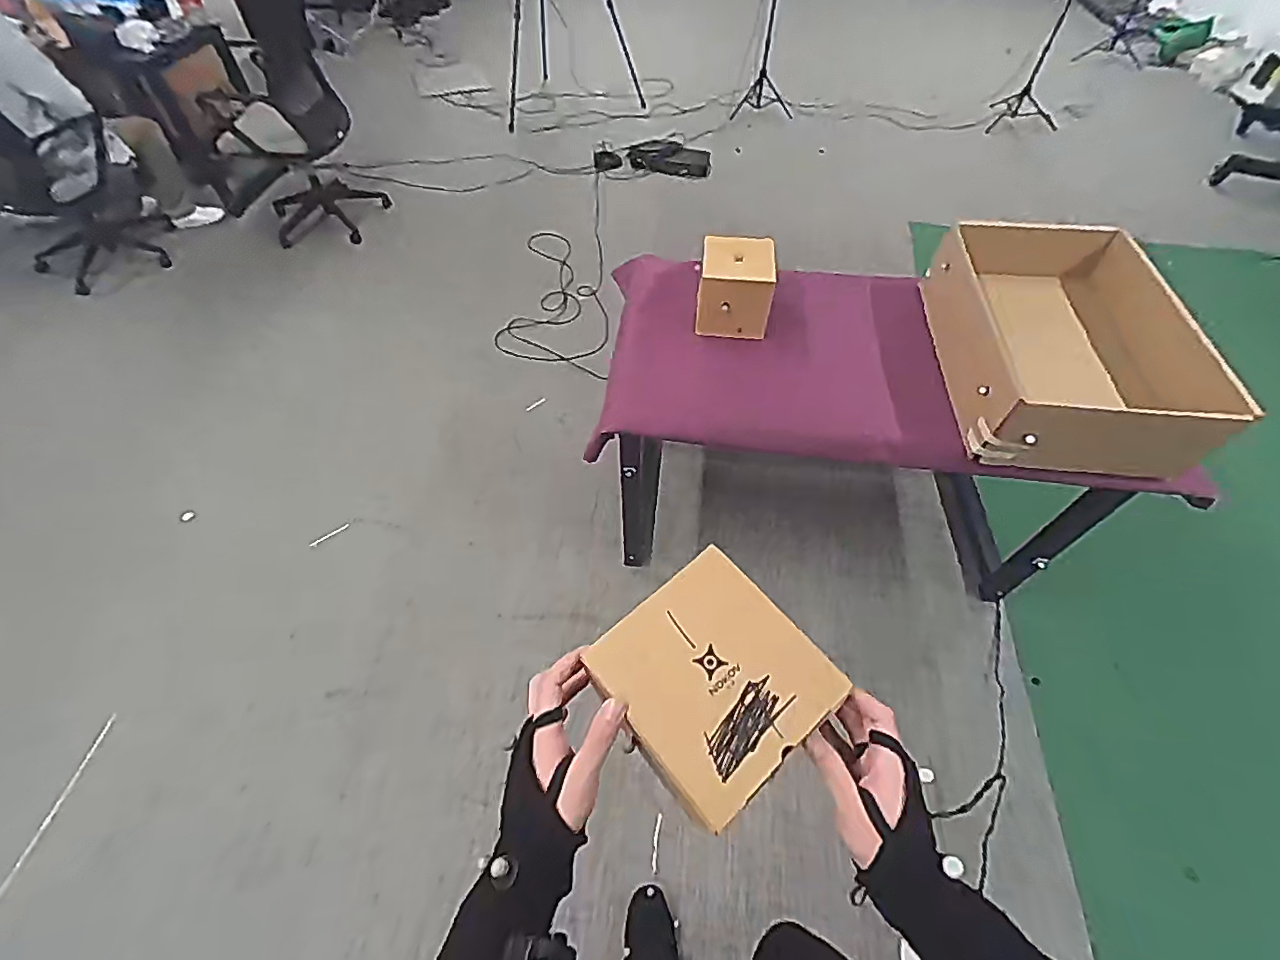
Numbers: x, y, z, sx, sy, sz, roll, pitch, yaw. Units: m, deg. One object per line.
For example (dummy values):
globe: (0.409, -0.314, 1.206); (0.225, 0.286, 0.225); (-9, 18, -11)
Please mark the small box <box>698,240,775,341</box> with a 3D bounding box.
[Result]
small box: (0.232, -0.461, 1.323); (0.168, 0.176, 0.179); (4, 53, 4)
